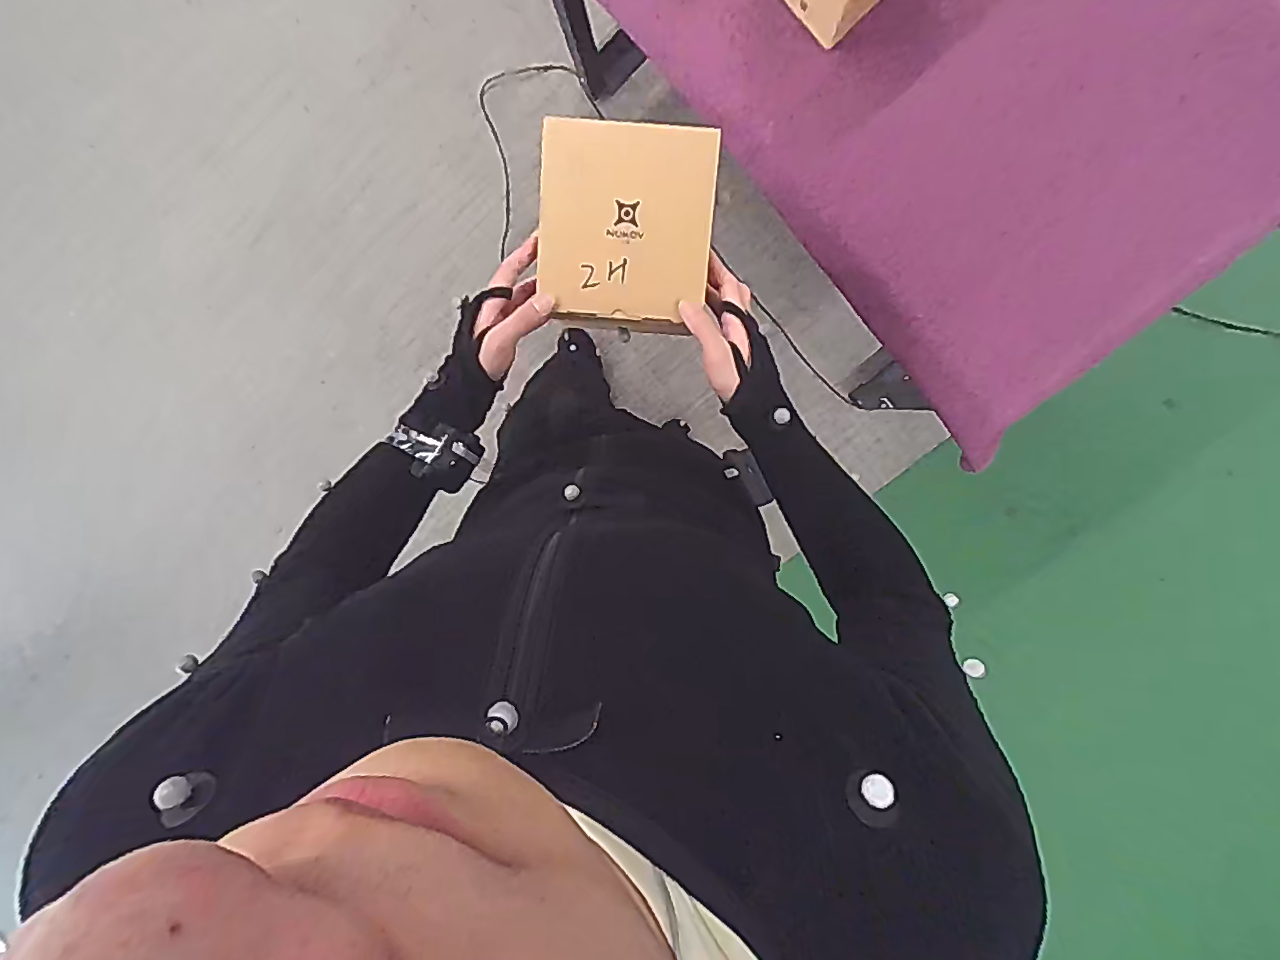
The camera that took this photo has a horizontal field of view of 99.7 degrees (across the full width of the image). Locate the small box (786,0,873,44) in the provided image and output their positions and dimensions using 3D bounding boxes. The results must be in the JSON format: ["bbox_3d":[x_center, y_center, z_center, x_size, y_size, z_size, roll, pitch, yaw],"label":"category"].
[{"bbox_3d":[0.262,-0.716,0.677,0.179,0.176,0.168,-43,93,8],"label":"small box"}]
